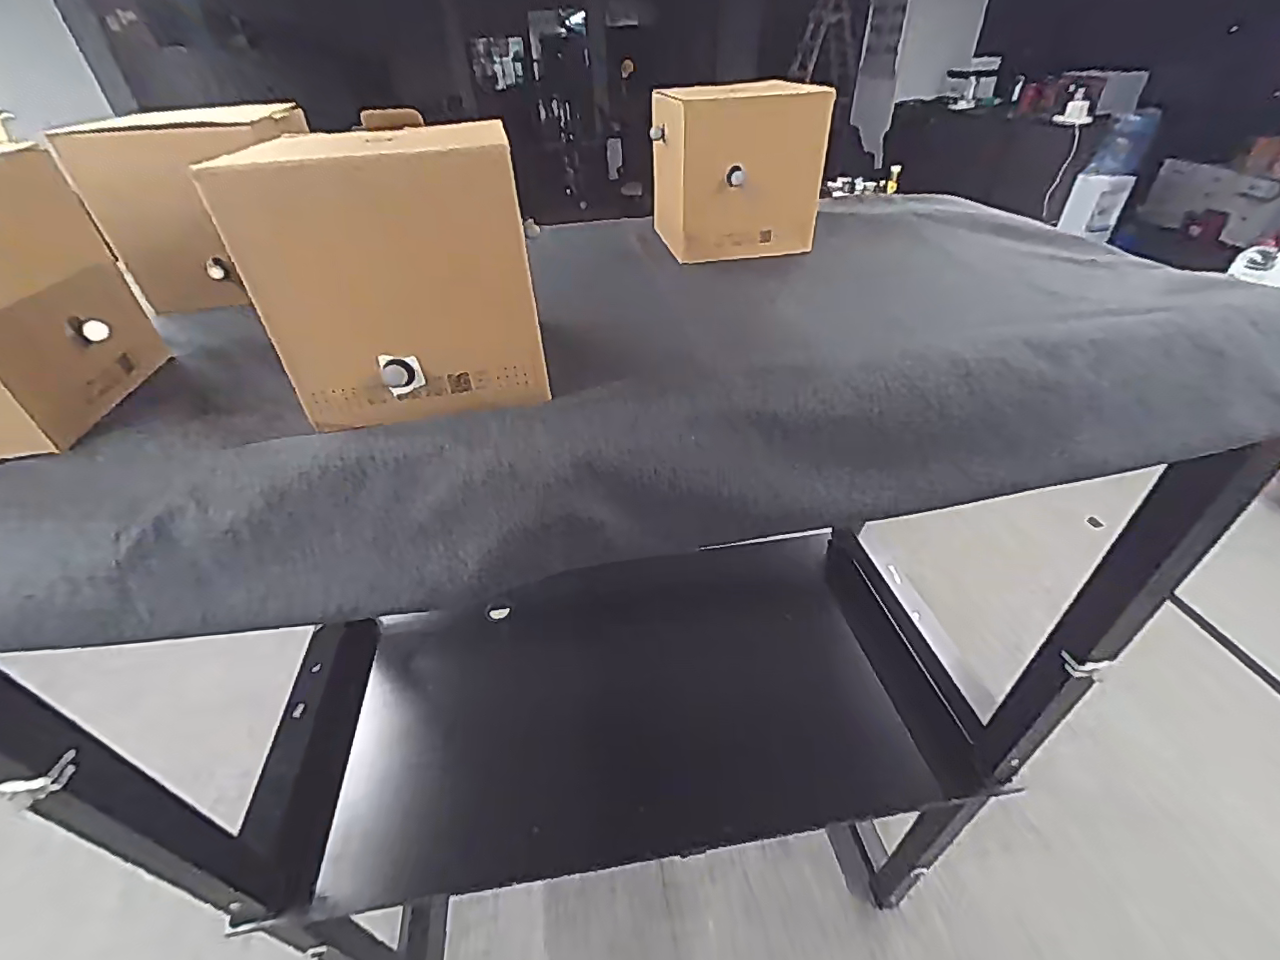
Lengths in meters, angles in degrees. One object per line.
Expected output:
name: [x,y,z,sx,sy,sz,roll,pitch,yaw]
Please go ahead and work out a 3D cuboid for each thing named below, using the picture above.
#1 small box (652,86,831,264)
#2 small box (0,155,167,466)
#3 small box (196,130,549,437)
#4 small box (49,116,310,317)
small box: [0.113,-0.374,0.669,0.168,0.176,0.179,-8,39,-6]
small box: [-0.494,-0.111,0.368,0.179,0.176,0.168,-9,38,-9]
small box: [-0.167,-0.153,0.404,0.168,0.176,0.179,-10,38,-9]
small box: [-0.455,-0.295,0.602,0.179,0.176,0.168,-8,39,-8]
